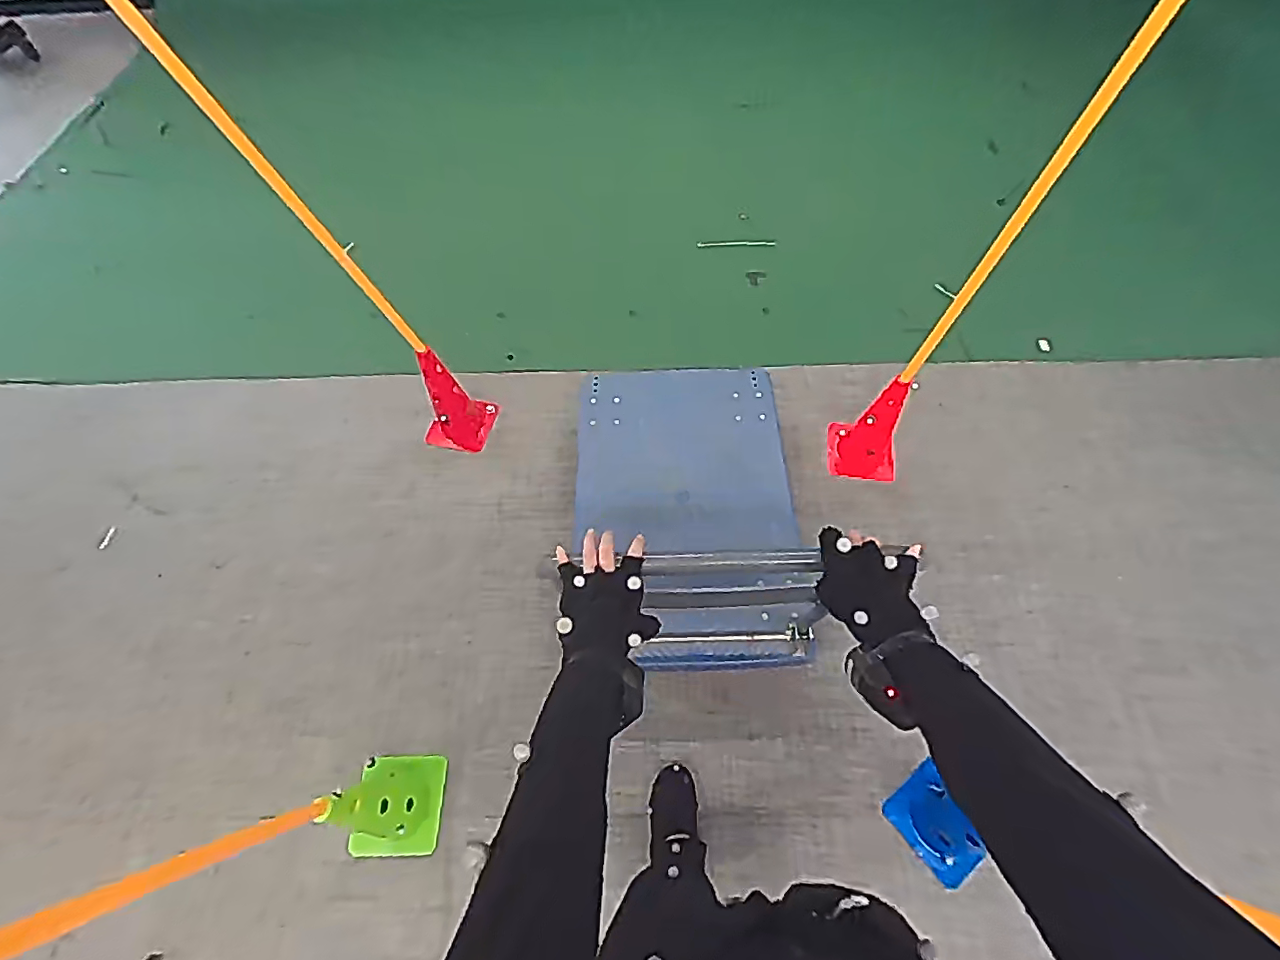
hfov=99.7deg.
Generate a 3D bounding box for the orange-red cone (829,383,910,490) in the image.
[{"bbox_3d":[0.692,-0.148,1.553,0.198,0.360,0.199,8,61,7],"label":"orange-red cone"}]
